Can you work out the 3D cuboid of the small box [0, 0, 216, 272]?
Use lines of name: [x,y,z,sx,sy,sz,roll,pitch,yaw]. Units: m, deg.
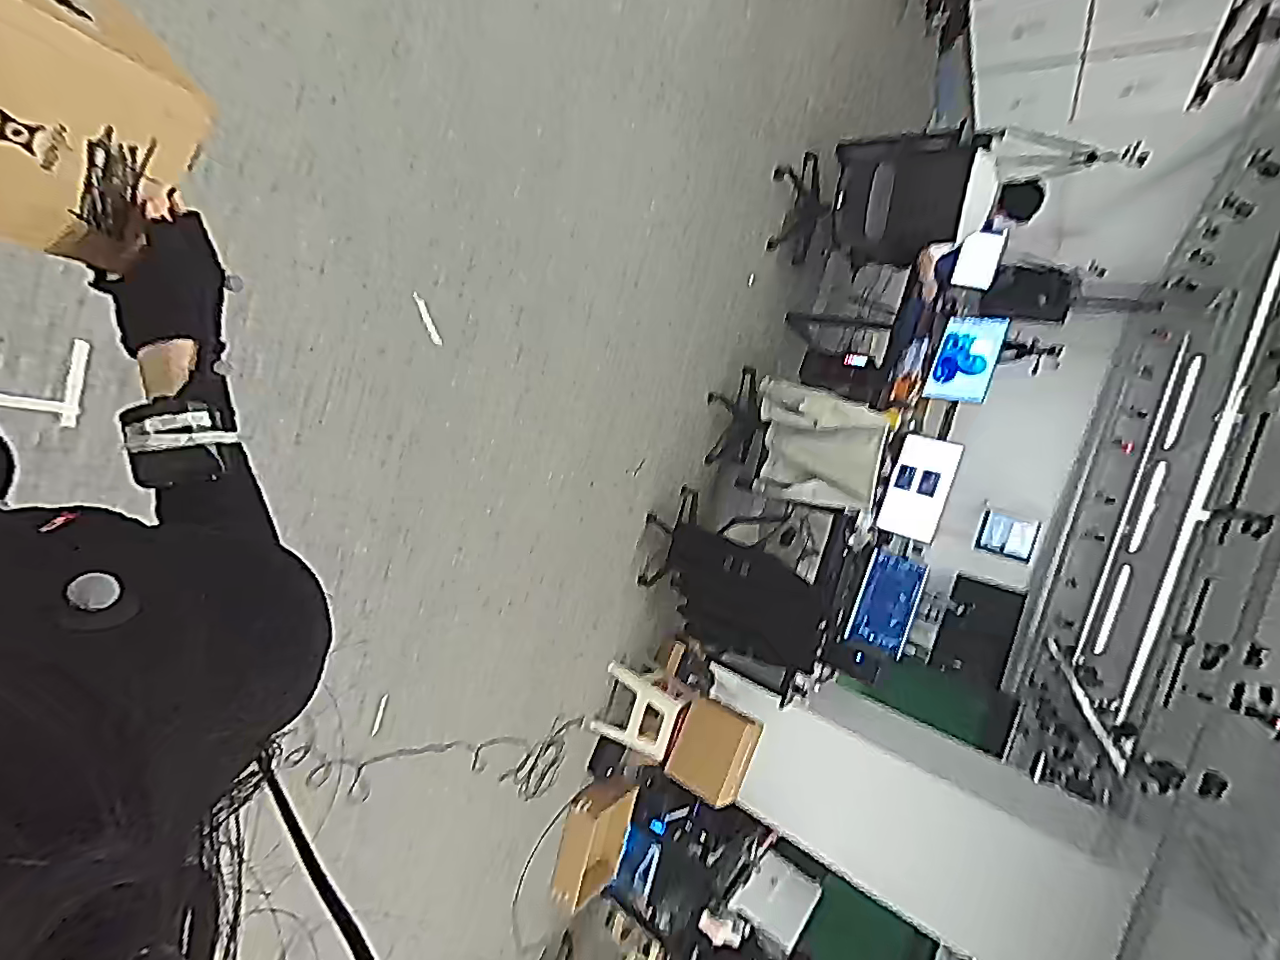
small box: [-0.465,-0.287,0.377,0.168,0.176,0.179,-46,168,14]
